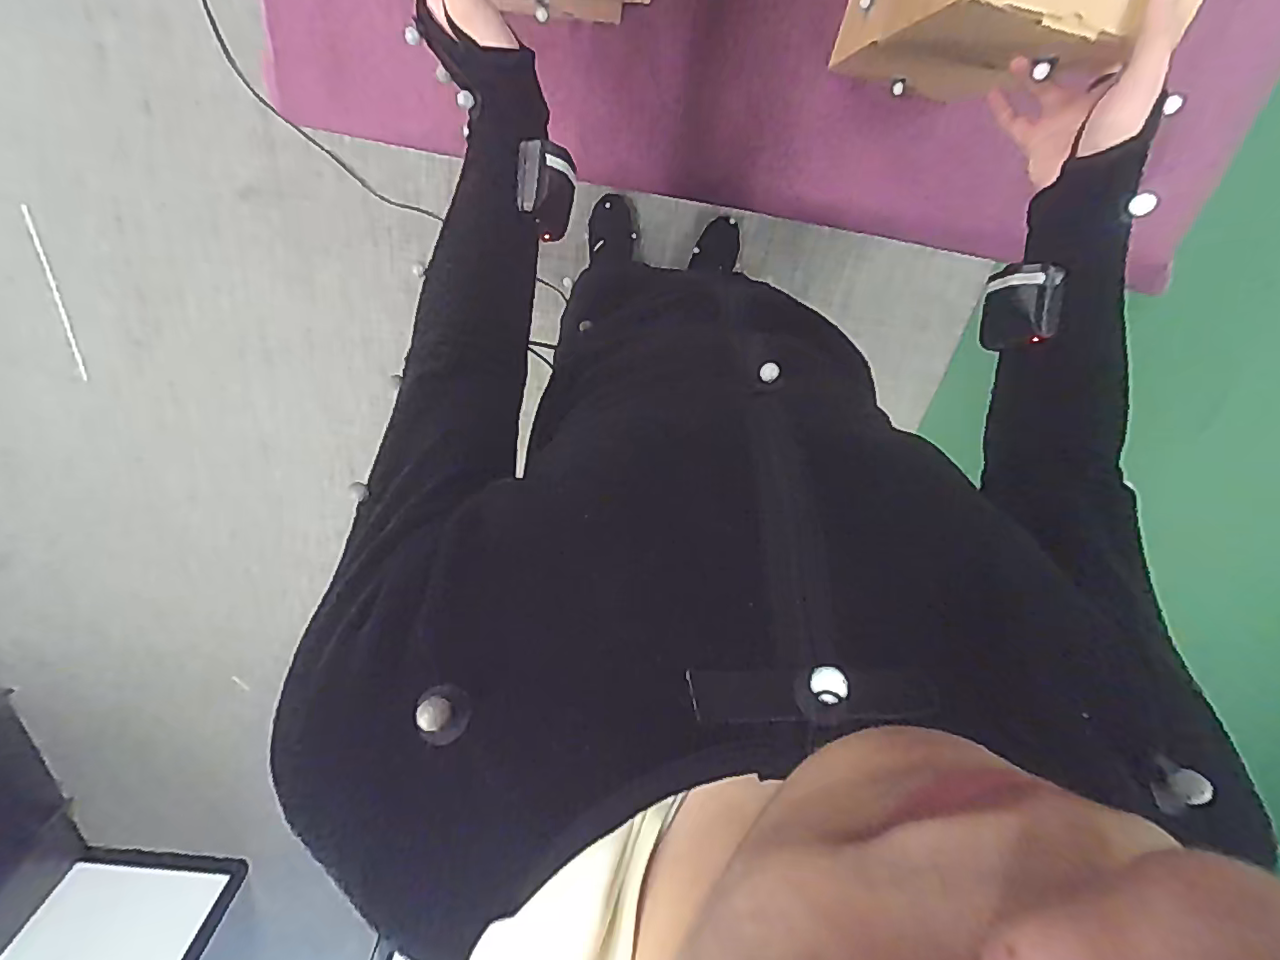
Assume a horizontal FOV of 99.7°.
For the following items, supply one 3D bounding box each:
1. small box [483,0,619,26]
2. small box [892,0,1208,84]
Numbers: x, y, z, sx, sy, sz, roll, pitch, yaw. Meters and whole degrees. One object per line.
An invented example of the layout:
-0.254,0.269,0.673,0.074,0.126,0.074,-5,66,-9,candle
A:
-0.098,-0.574,0.515,0.168,0.176,0.179,5,119,-2,small box
0.321,-0.427,0.408,0.168,0.176,0.179,10,119,-6,small box
